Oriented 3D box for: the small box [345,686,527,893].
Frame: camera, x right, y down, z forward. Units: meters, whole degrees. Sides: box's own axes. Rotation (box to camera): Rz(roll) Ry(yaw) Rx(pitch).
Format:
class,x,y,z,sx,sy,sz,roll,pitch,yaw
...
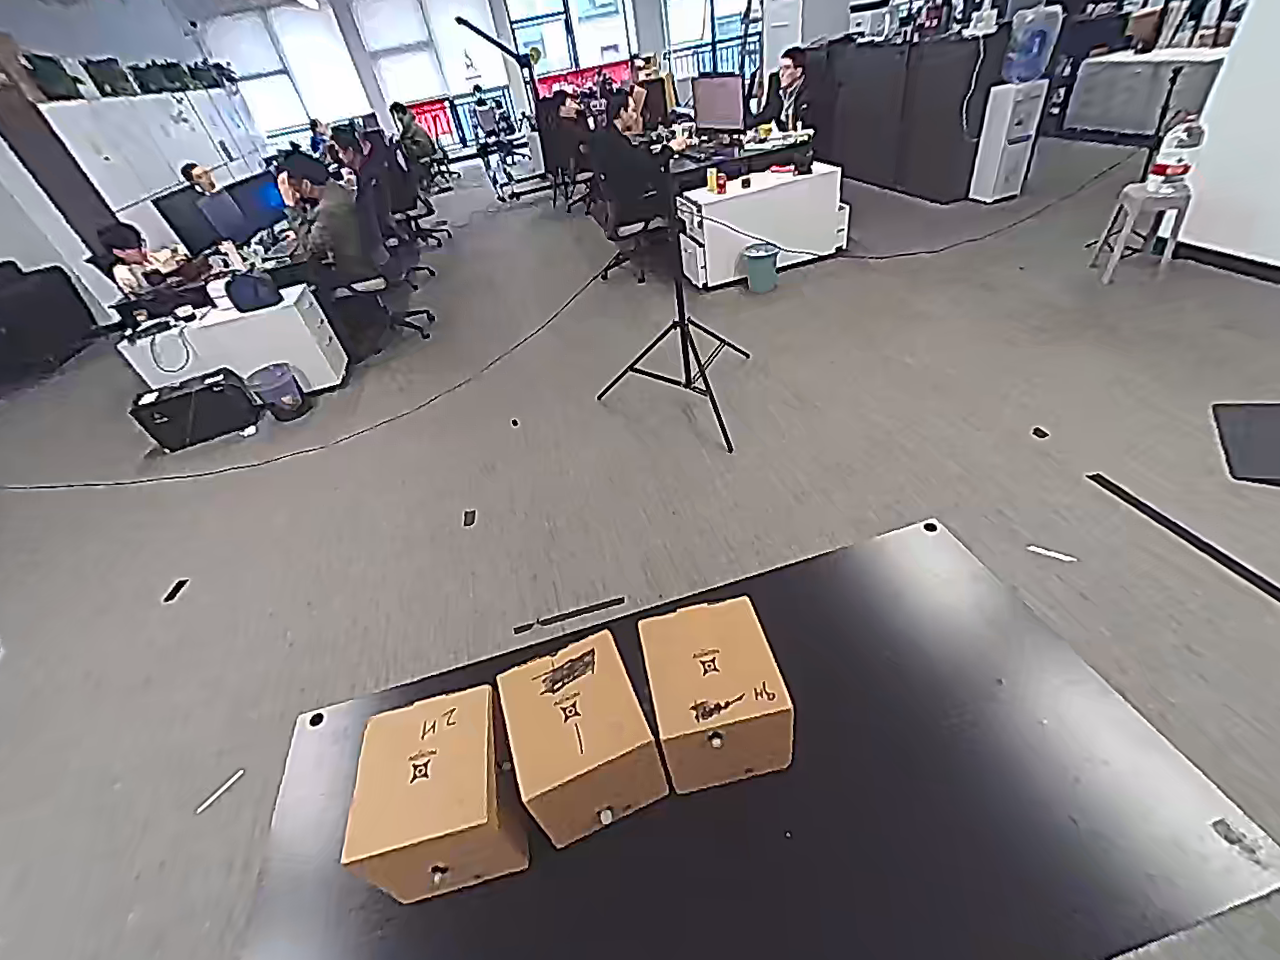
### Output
class,x,y,z,sx,sy,sz,roll,pitch,yaw
small box,-0.252,0.412,0.714,0.168,0.176,0.179,-14,39,-4
